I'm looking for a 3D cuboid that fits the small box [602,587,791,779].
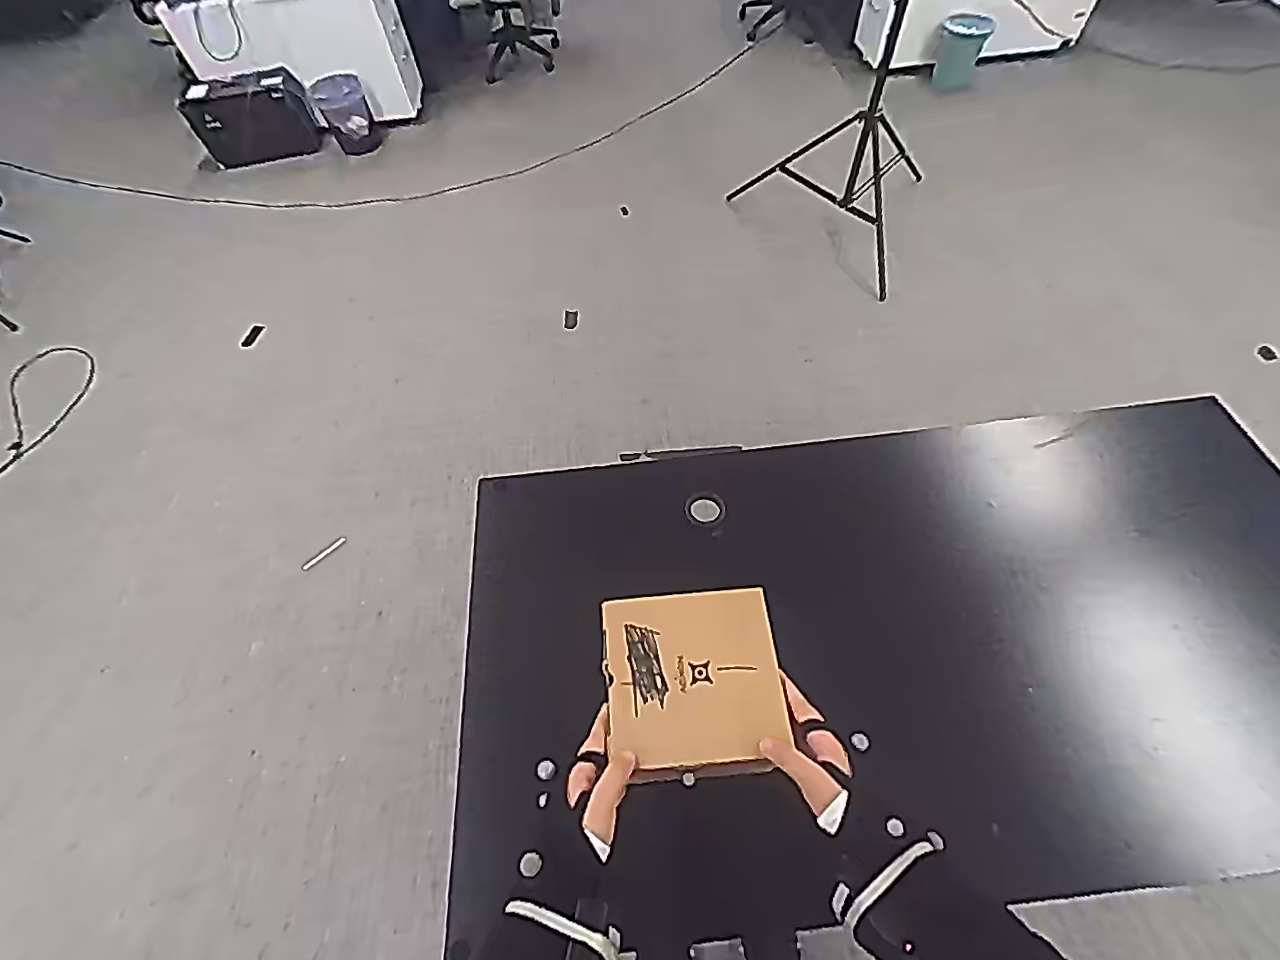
[{"bbox_3d":[0.055,0.235,0.613,0.179,0.176,0.168,-5,57,0],"label":"small box"}]
